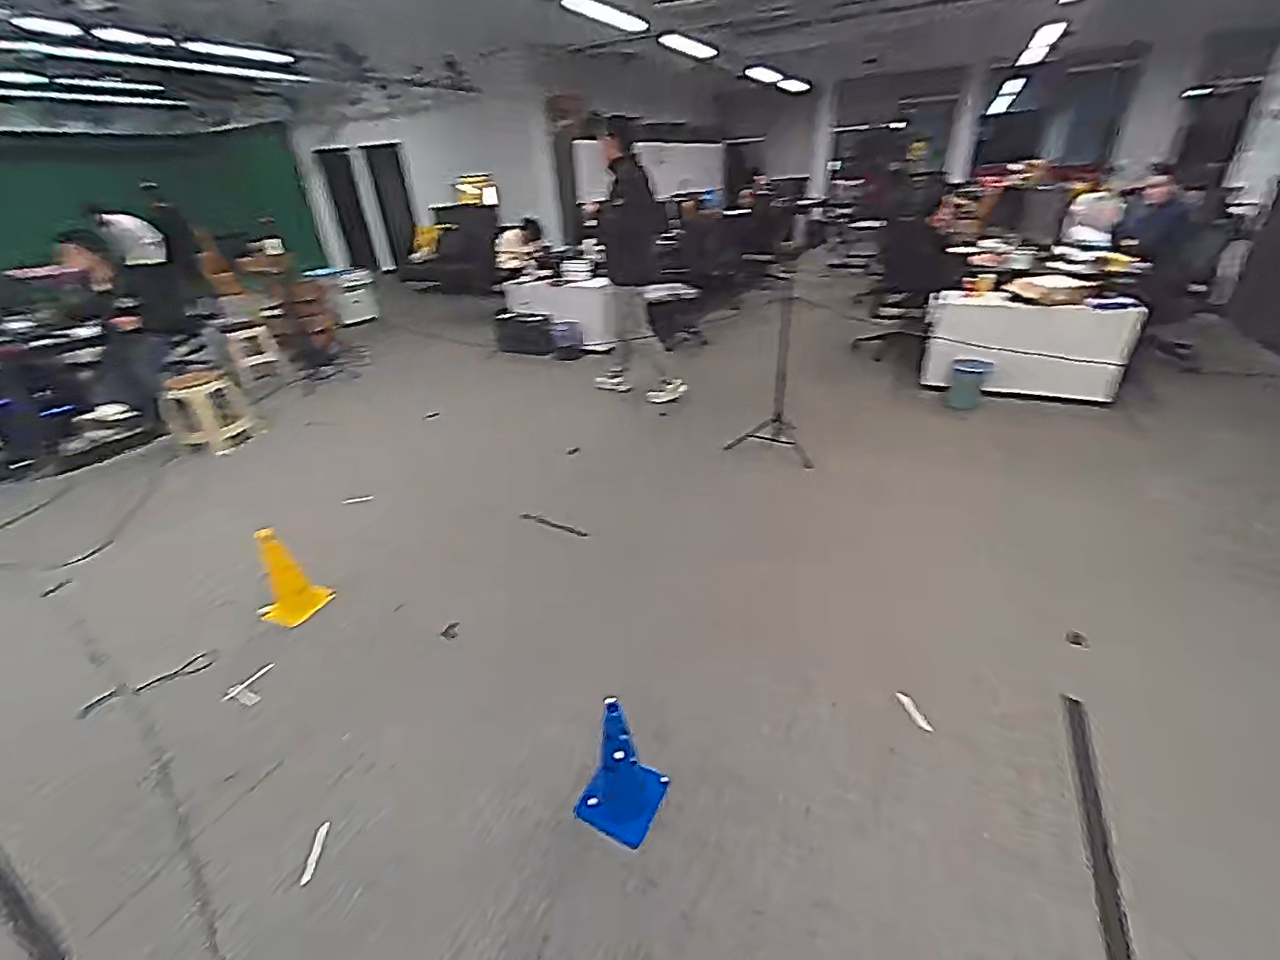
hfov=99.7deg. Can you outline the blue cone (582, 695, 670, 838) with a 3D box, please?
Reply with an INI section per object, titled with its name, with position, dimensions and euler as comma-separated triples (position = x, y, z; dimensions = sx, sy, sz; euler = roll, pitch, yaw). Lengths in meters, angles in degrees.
[blue cone]
position = -0.045, 0.684, 1.344
dimensions = 0.193, 0.380, 0.192
euler = 13, 32, 27
